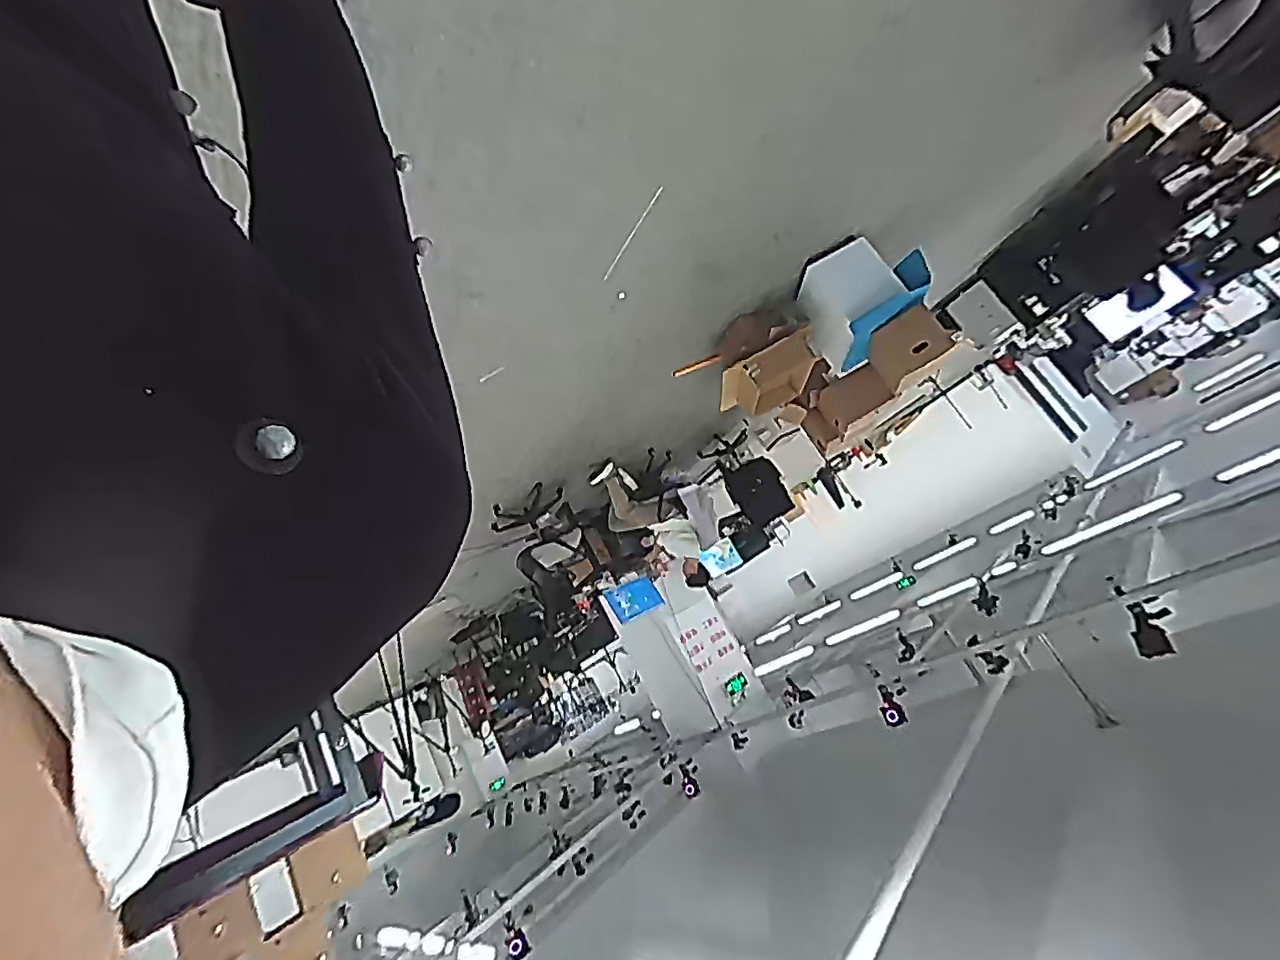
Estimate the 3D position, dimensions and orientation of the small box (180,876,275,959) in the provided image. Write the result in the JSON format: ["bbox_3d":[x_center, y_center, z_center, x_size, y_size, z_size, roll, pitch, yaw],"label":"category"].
[{"bbox_3d":[-1.108,1.201,1.451,0.168,0.176,0.179,-16,159,-44],"label":"small box"}]

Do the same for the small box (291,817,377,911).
[{"bbox_3d":[-0.927,1.152,1.633,0.179,0.176,0.168,-15,158,-42],"label":"small box"}]

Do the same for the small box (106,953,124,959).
[{"bbox_3d":[-1.304,1.255,1.254,0.179,0.176,0.168,-17,161,-45],"label":"small box"}]
